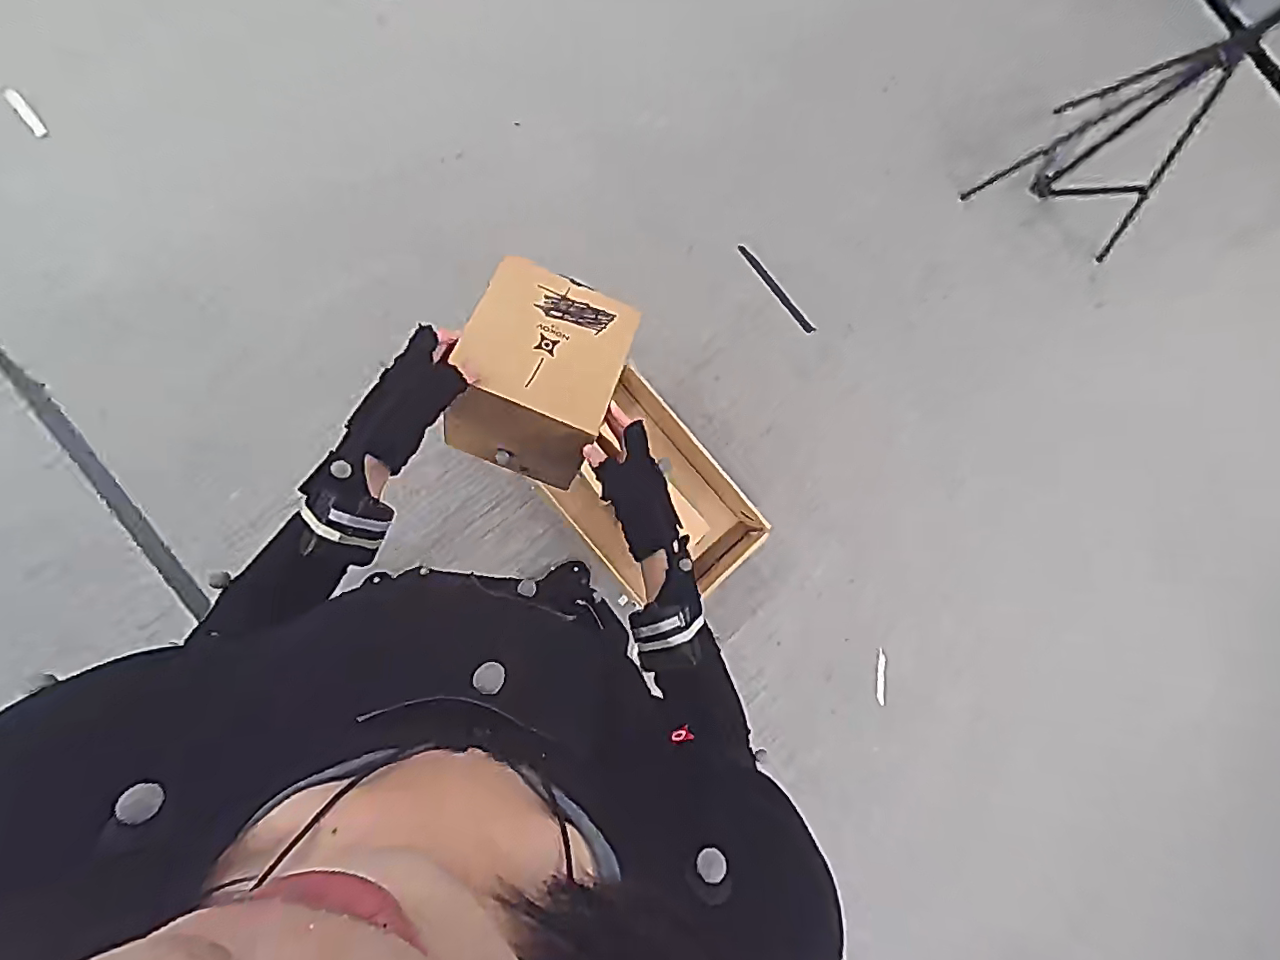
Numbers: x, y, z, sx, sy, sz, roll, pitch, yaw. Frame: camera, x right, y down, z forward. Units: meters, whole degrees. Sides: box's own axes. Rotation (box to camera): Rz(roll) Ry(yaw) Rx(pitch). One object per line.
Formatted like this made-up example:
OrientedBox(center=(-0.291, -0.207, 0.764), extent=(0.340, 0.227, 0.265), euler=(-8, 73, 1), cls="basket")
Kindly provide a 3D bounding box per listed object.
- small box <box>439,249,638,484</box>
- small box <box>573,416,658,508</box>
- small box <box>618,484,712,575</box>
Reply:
OrientedBox(center=(-0.122, -0.122, 0.637), extent=(0.168, 0.176, 0.179), euler=(22, 64, -9), cls="small box")
OrientedBox(center=(-0.080, -0.041, 1.446), extent=(0.168, 0.176, 0.179), euler=(-36, 90, -12), cls="small box")
OrientedBox(center=(0.060, 0.134, 1.449), extent=(0.168, 0.176, 0.179), euler=(-43, 89, -13), cls="small box")
